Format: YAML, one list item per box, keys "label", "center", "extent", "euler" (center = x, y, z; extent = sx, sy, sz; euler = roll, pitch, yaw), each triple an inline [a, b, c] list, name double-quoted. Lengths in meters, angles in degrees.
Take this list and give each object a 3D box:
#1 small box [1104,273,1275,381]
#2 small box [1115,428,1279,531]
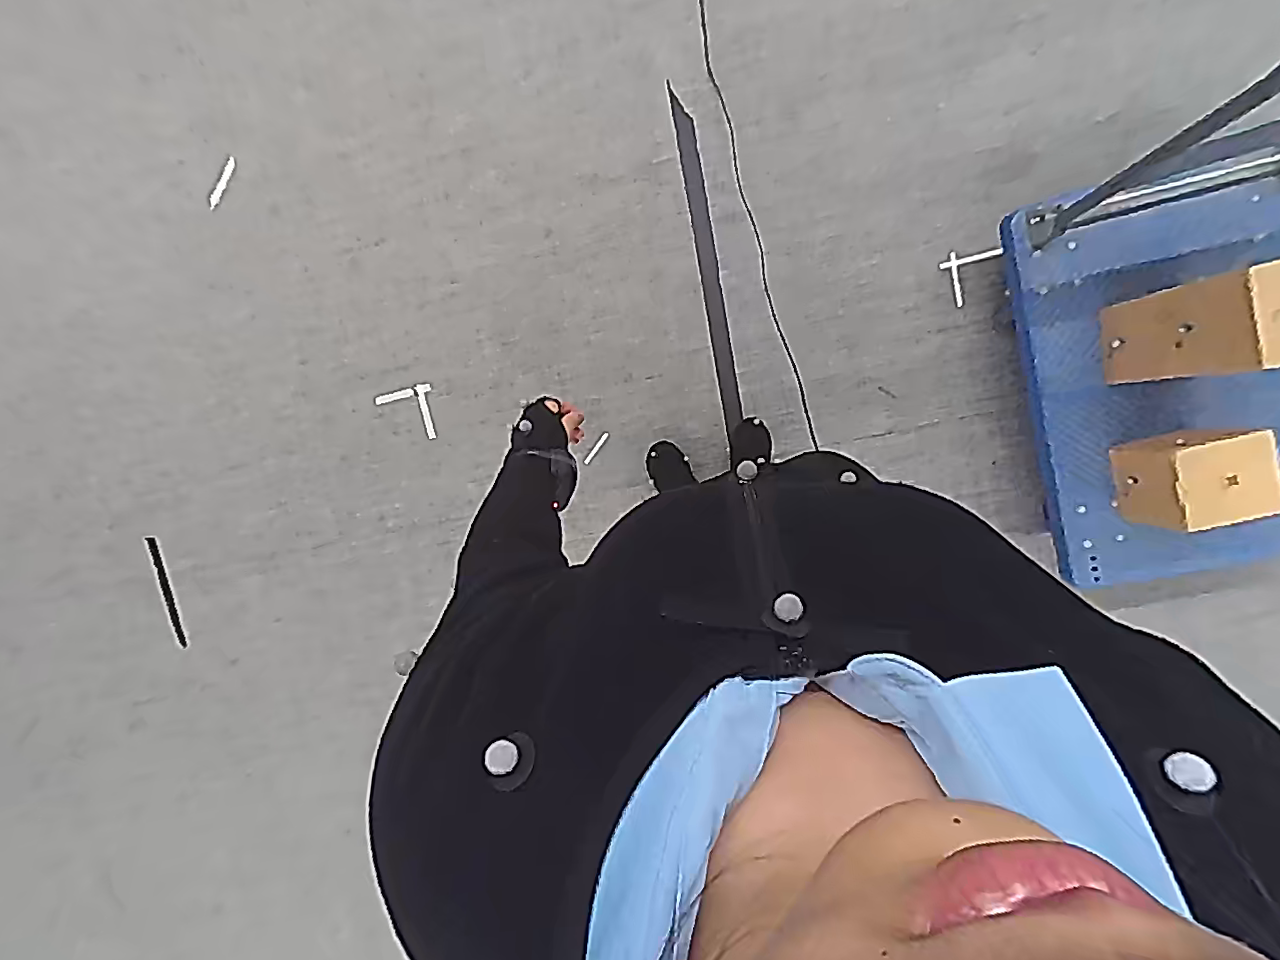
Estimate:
- label: "small box"
  center: [1.090, -0.298, 1.084]
  extent: [0.179, 0.176, 0.168]
  euler: [-9, 94, 7]
- label: "small box"
  center: [1.142, -0.009, 1.110]
  extent: [0.179, 0.176, 0.168]
  euler: [-15, 94, 8]
